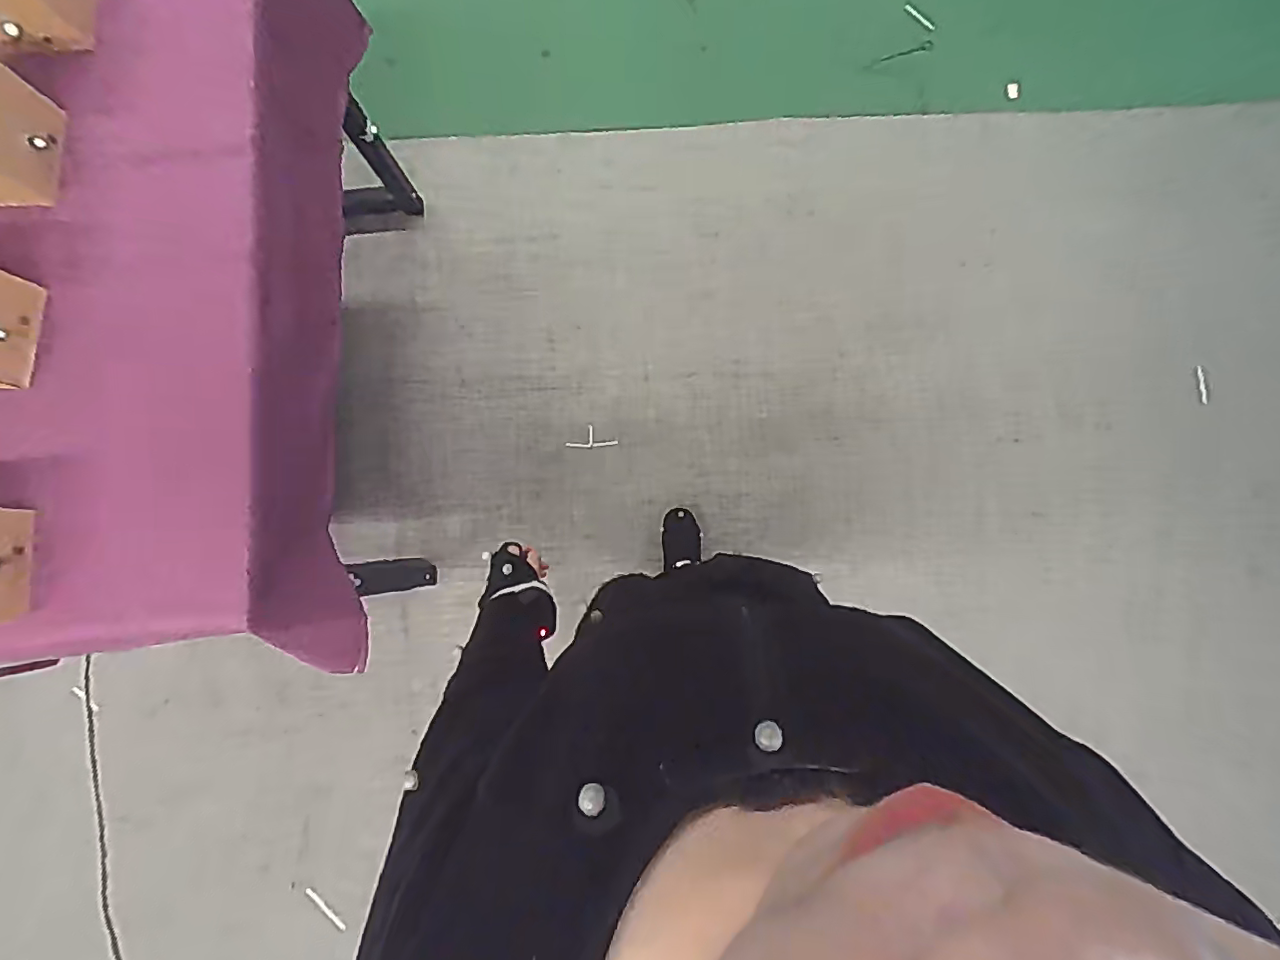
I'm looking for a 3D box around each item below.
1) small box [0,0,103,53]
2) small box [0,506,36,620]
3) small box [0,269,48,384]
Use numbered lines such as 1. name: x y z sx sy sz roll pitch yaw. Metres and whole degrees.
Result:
1. small box: -1.009 -0.828 0.856 0.168 0.176 0.179 -2 84 1
2. small box: -0.998 0.118 0.730 0.179 0.176 0.168 -5 82 1
3. small box: -1.044 -0.243 0.782 0.179 0.176 0.168 3 83 1
